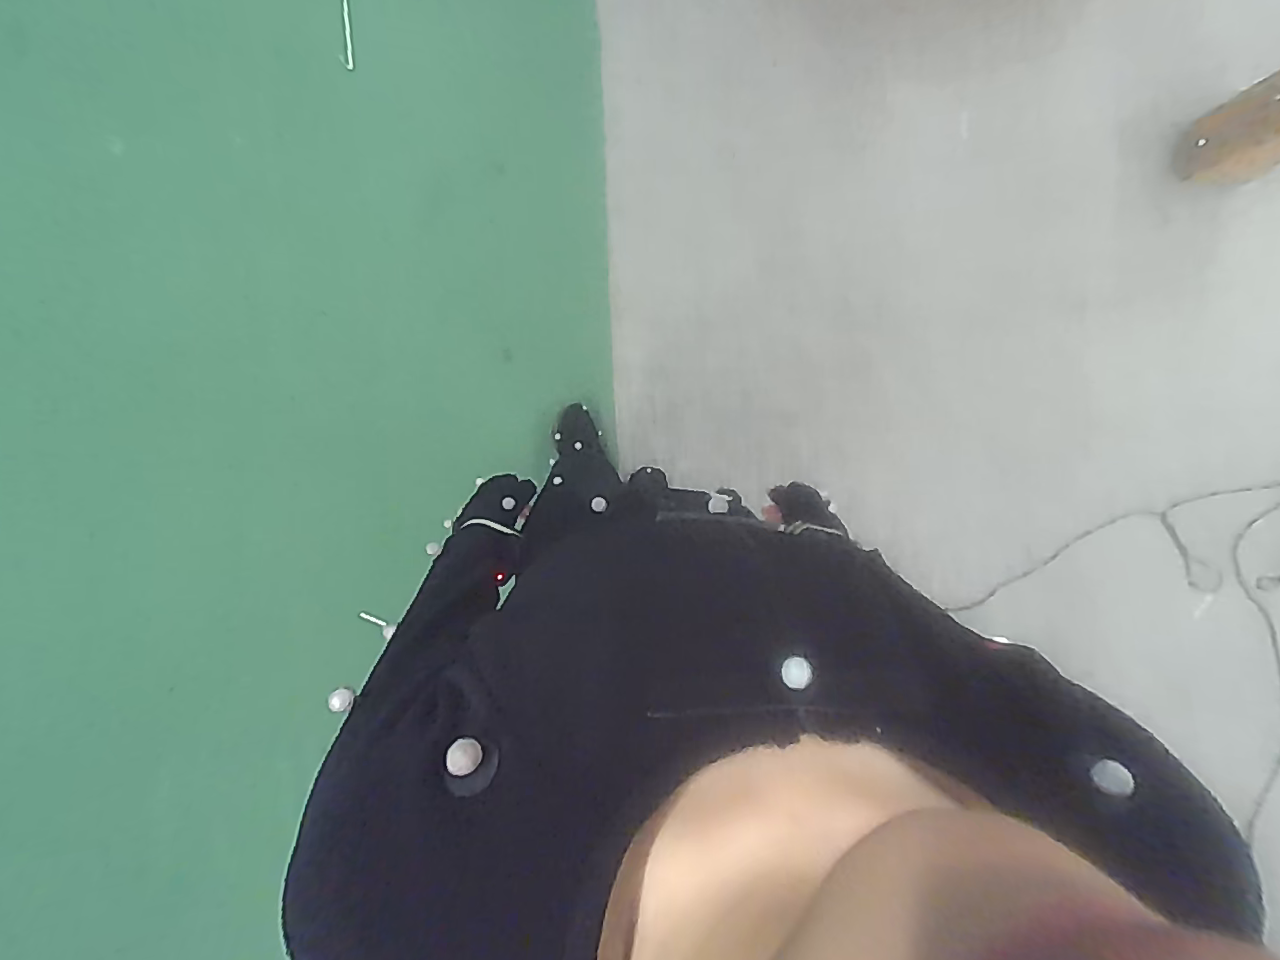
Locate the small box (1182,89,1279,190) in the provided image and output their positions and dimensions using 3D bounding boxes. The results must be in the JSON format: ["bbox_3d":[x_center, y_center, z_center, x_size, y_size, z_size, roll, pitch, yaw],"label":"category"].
[{"bbox_3d":[1.617,-0.895,1.437,0.179,0.176,0.168,3,91,-2],"label":"small box"}]
